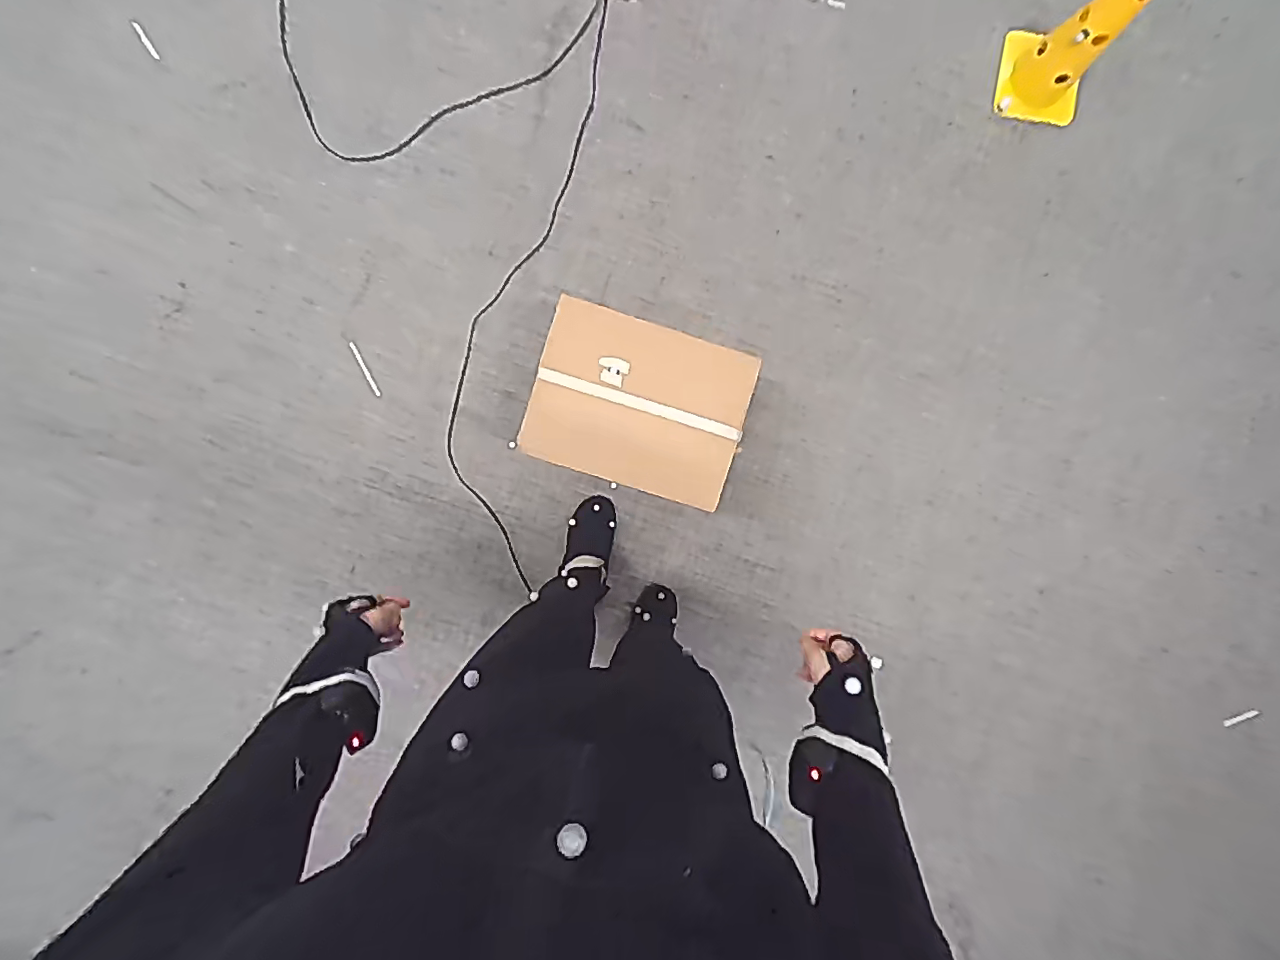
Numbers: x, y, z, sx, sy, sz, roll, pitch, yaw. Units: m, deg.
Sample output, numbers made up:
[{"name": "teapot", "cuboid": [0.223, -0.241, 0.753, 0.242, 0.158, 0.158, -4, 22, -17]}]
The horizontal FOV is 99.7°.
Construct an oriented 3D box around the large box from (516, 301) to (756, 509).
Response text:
[{"name": "large box", "cuboid": [-0.009, -0.148, 1.185, 0.408, 0.320, 0.320, 17, 91, -2]}]
